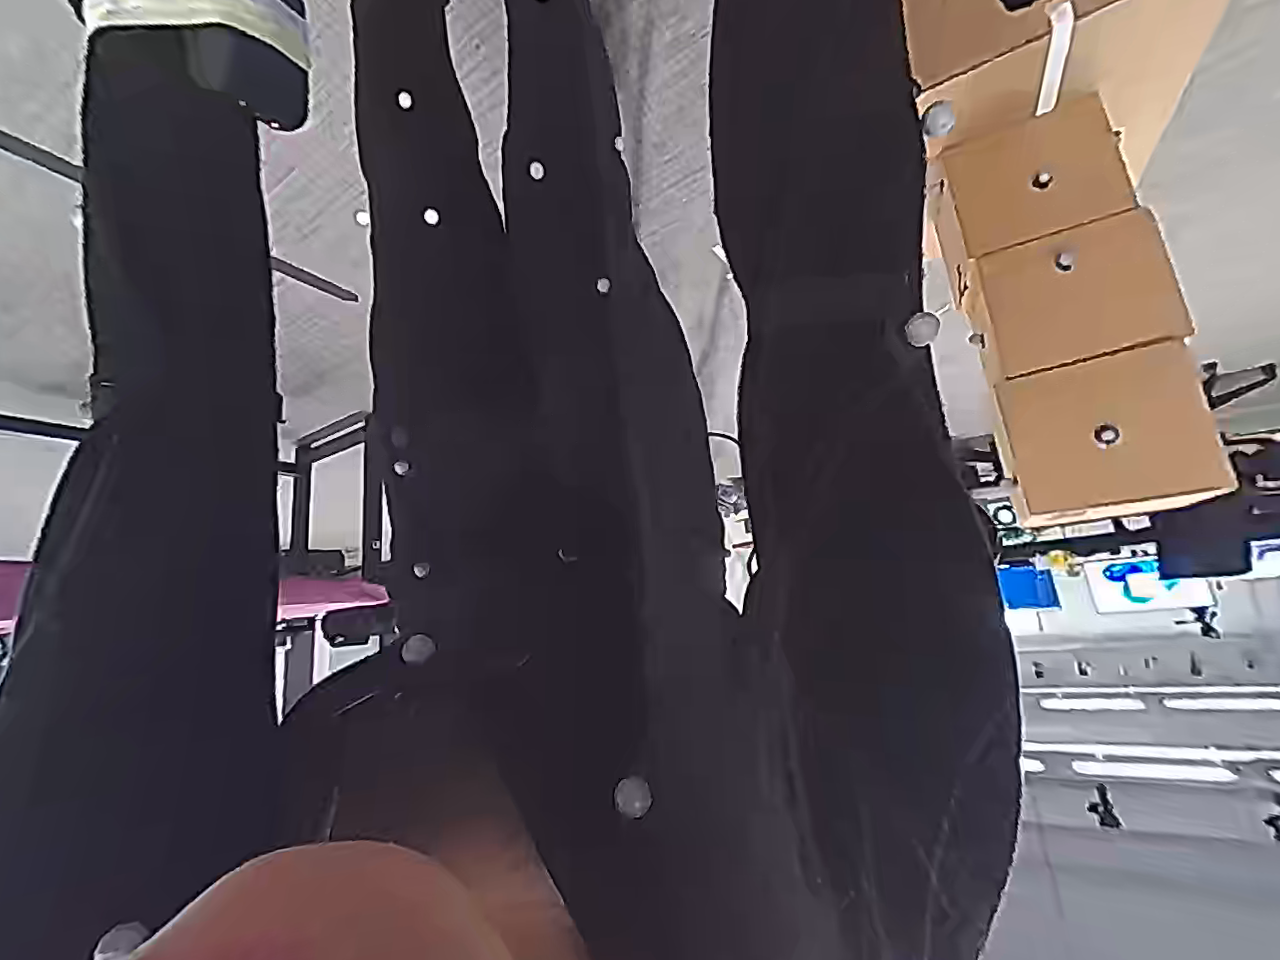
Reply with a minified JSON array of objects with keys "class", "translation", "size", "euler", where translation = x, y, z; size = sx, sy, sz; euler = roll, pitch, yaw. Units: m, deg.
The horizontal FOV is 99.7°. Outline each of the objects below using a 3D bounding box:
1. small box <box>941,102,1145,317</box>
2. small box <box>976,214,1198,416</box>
[{"class":"small box","translation":[0.527,-0.357,0.740],"size":[0.179,0.176,0.168],"euler":[-12,165,24]},{"class":"small box","translation":[0.551,-0.201,0.699],"size":[0.179,0.176,0.168],"euler":[-11,166,27]}]
